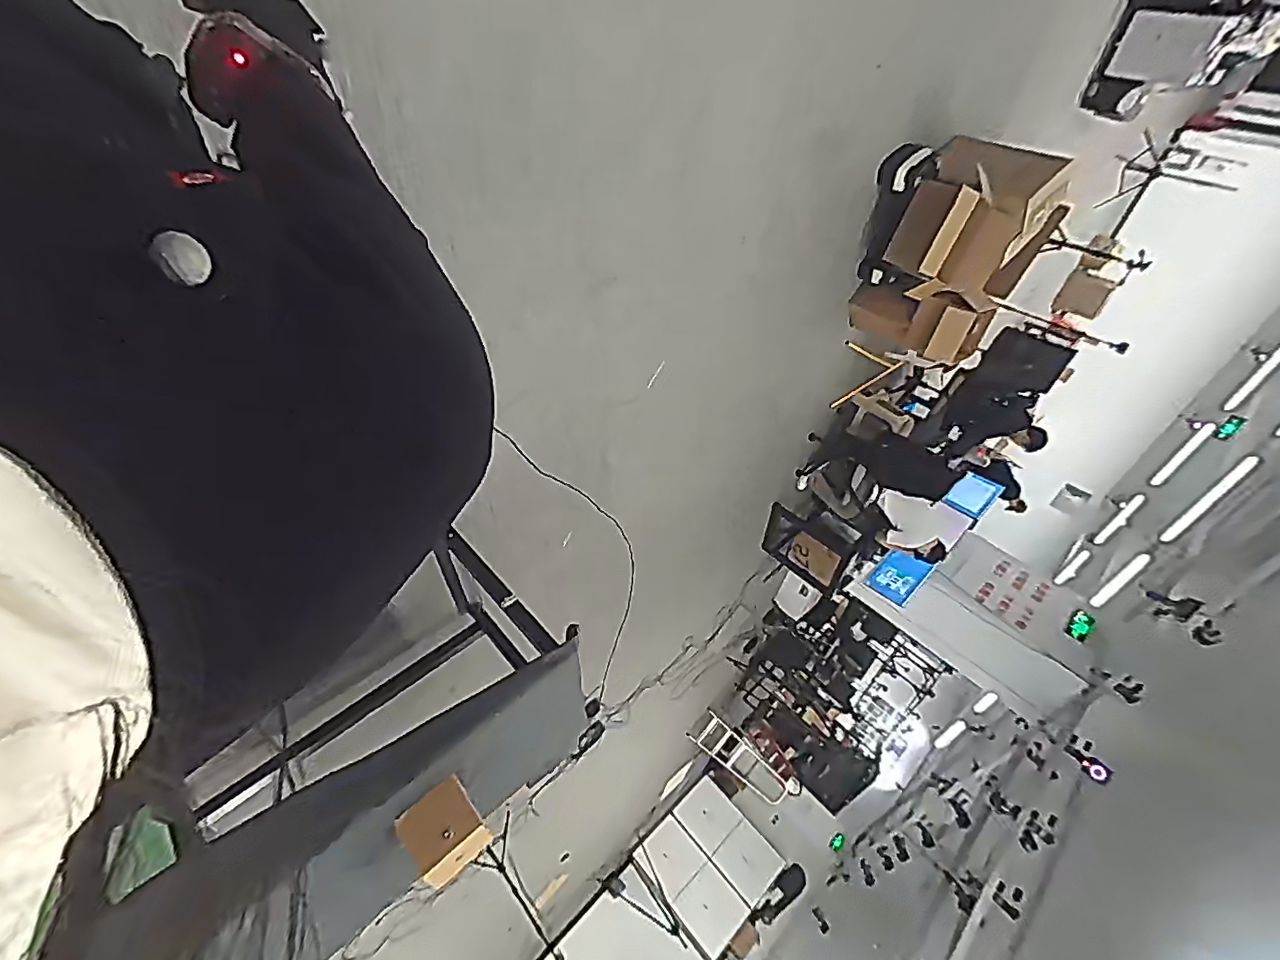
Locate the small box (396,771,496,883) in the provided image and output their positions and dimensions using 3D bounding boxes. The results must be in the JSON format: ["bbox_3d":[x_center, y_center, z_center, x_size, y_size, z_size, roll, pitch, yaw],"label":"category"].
[{"bbox_3d":[-0.519,0.929,1.457,0.179,0.176,0.168,-33,143,-28],"label":"small box"}]
